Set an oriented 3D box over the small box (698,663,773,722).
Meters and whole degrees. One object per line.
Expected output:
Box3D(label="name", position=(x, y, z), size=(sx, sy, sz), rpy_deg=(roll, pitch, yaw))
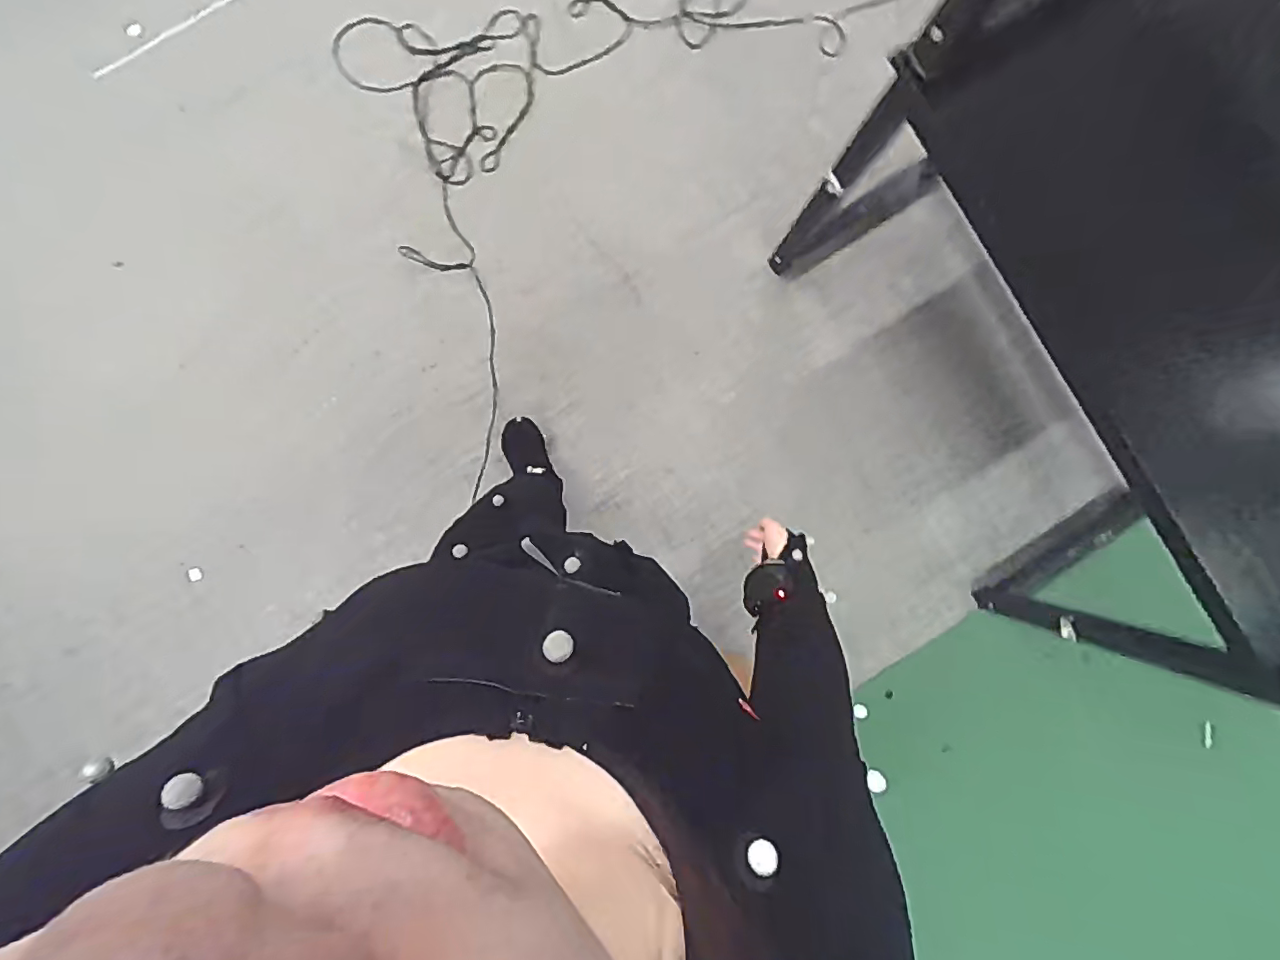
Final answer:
Box3D(label="small box", position=(0.272, 0.613, 1.424), size=(0.179, 0.176, 0.168), rpy_deg=(-28, 91, -2))
